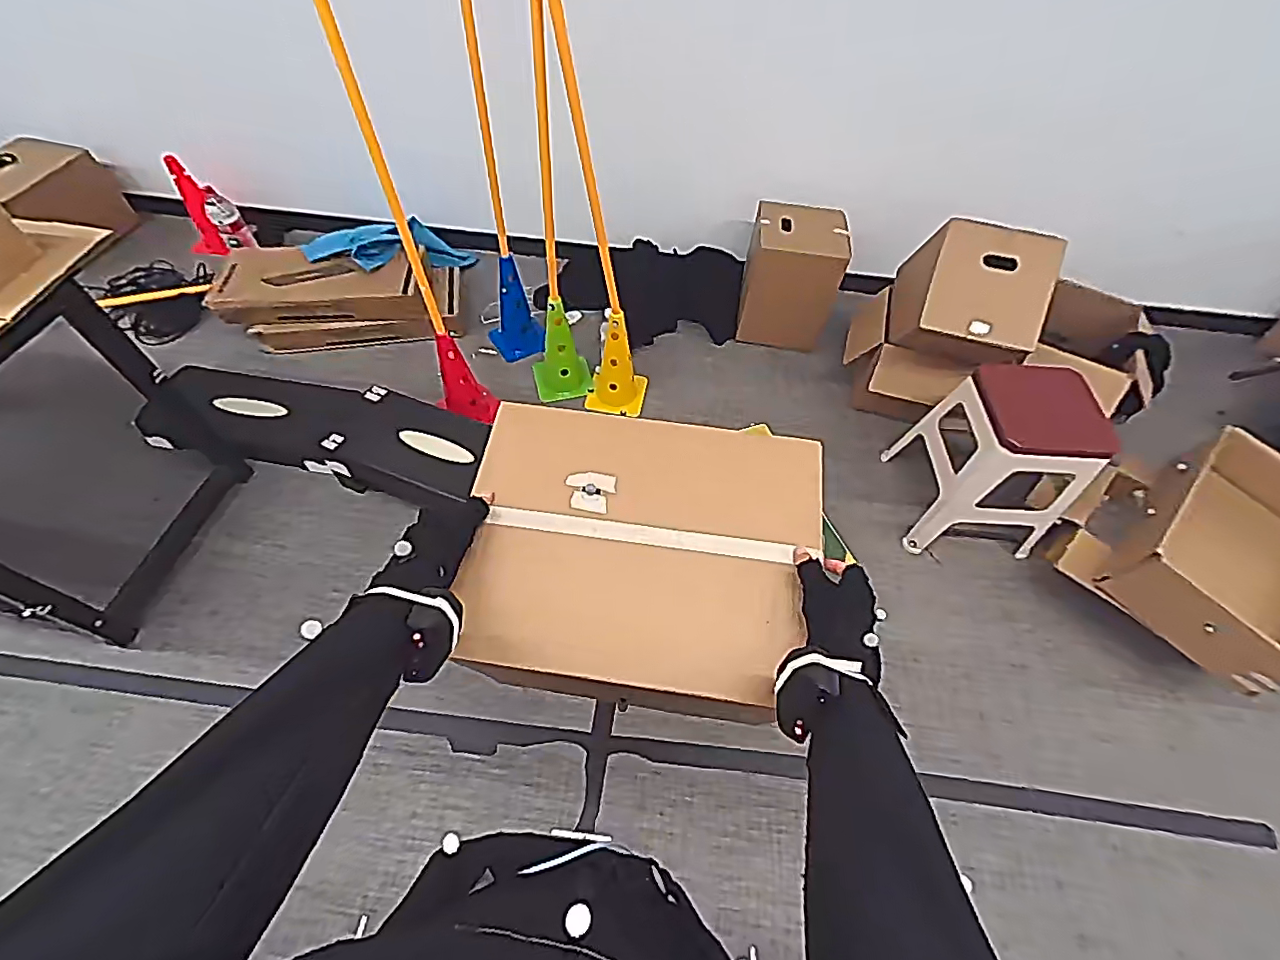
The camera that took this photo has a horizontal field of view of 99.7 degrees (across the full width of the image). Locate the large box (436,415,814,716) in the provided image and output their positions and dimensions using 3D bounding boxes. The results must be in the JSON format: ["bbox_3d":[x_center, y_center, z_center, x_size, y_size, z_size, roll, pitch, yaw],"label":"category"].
[{"bbox_3d":[0.002,0.137,0.755,0.408,0.320,0.320,7,64,4],"label":"large box"}]
